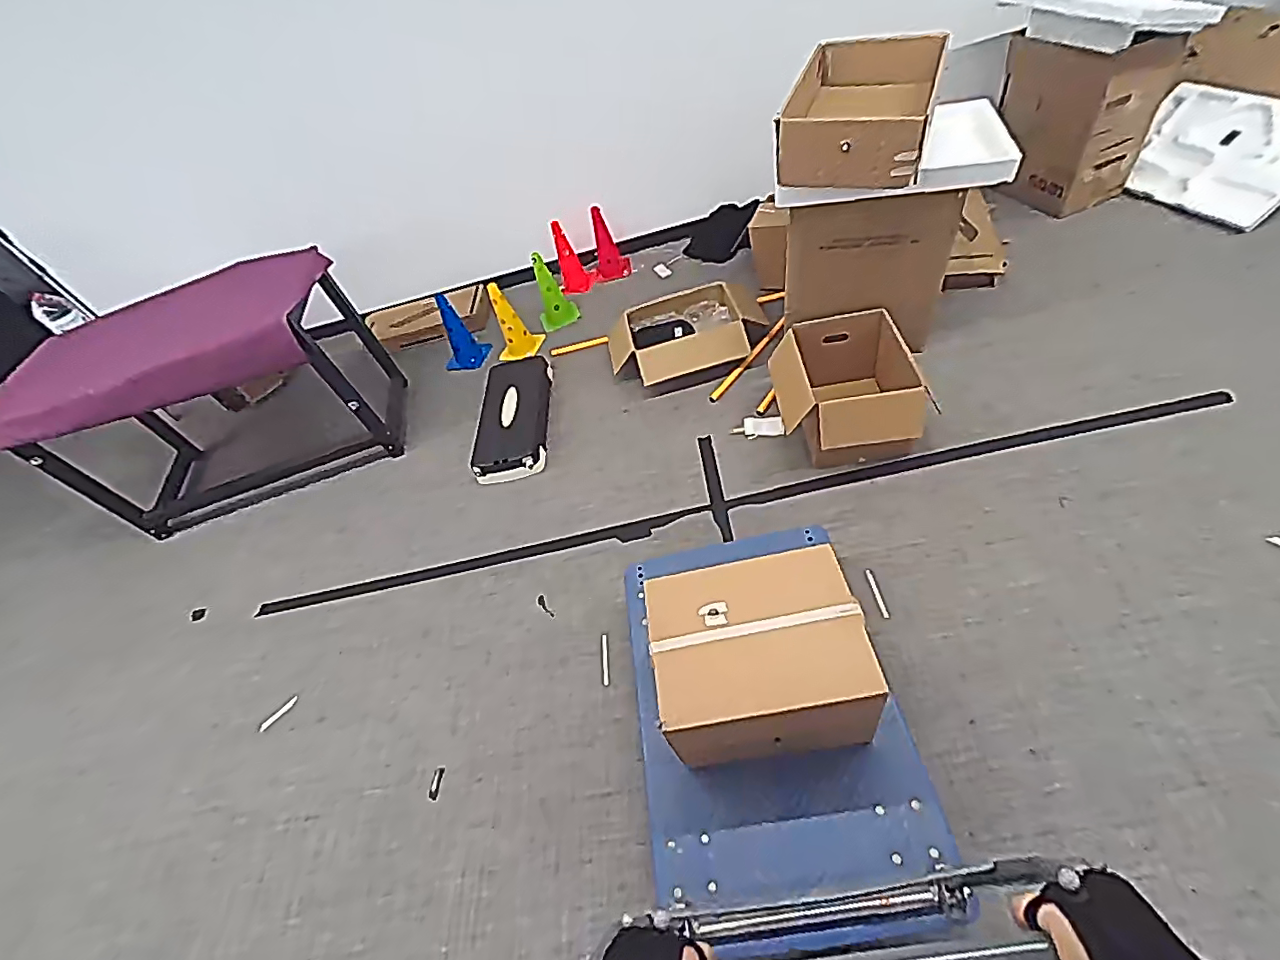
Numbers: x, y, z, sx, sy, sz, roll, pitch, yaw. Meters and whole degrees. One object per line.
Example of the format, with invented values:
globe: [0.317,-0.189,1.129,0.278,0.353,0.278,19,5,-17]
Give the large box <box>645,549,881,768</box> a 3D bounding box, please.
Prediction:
large box: [0.254,0.398,1.178,0.408,0.320,0.320,-14,48,7]
